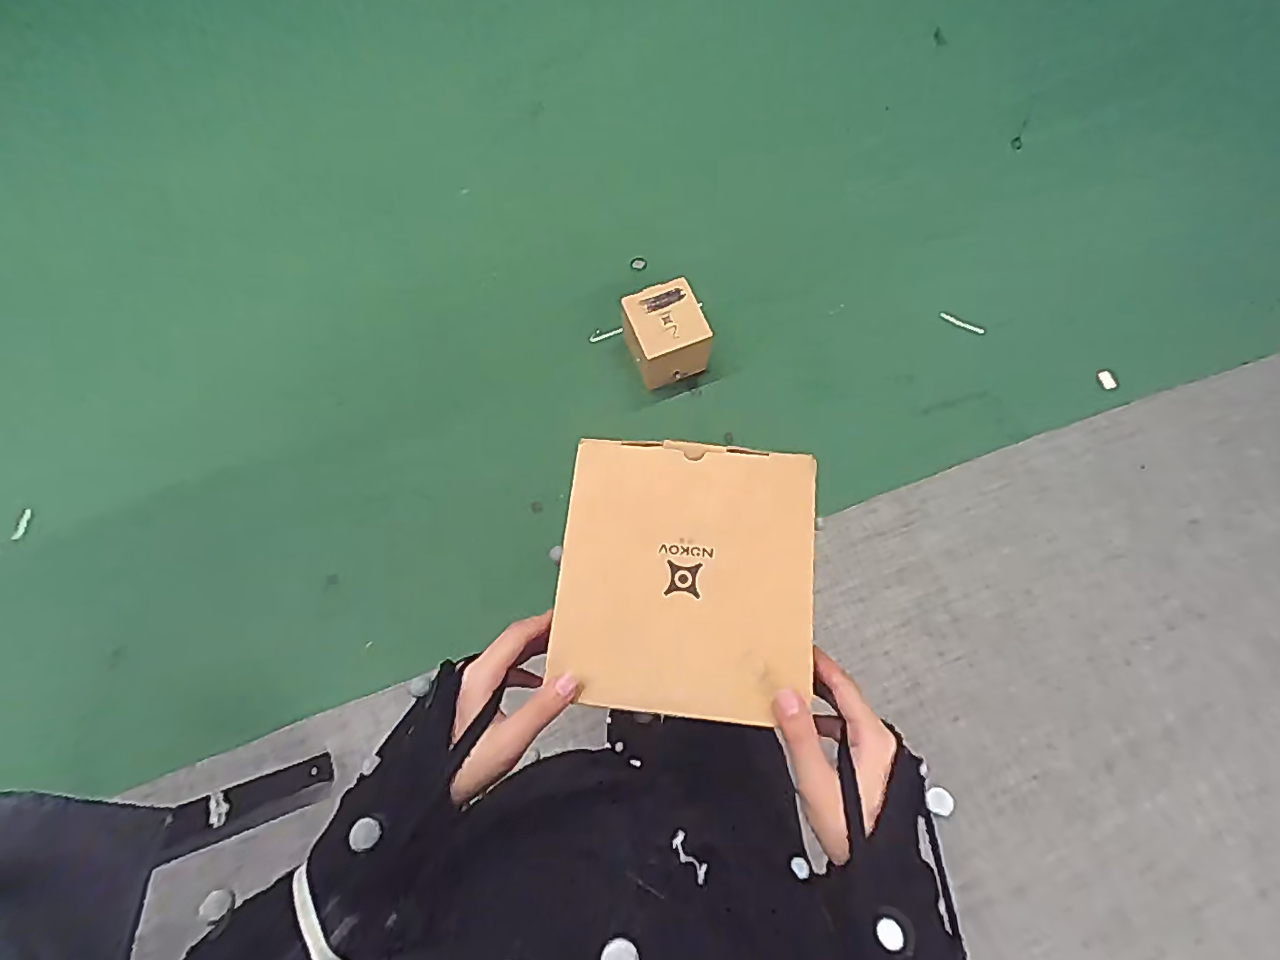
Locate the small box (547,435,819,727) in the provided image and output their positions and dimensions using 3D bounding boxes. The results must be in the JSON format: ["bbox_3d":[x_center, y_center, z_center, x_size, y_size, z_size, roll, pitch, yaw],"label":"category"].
[{"bbox_3d":[0.037,0.080,0.425,0.168,0.176,0.179,4,73,5],"label":"small box"}]
